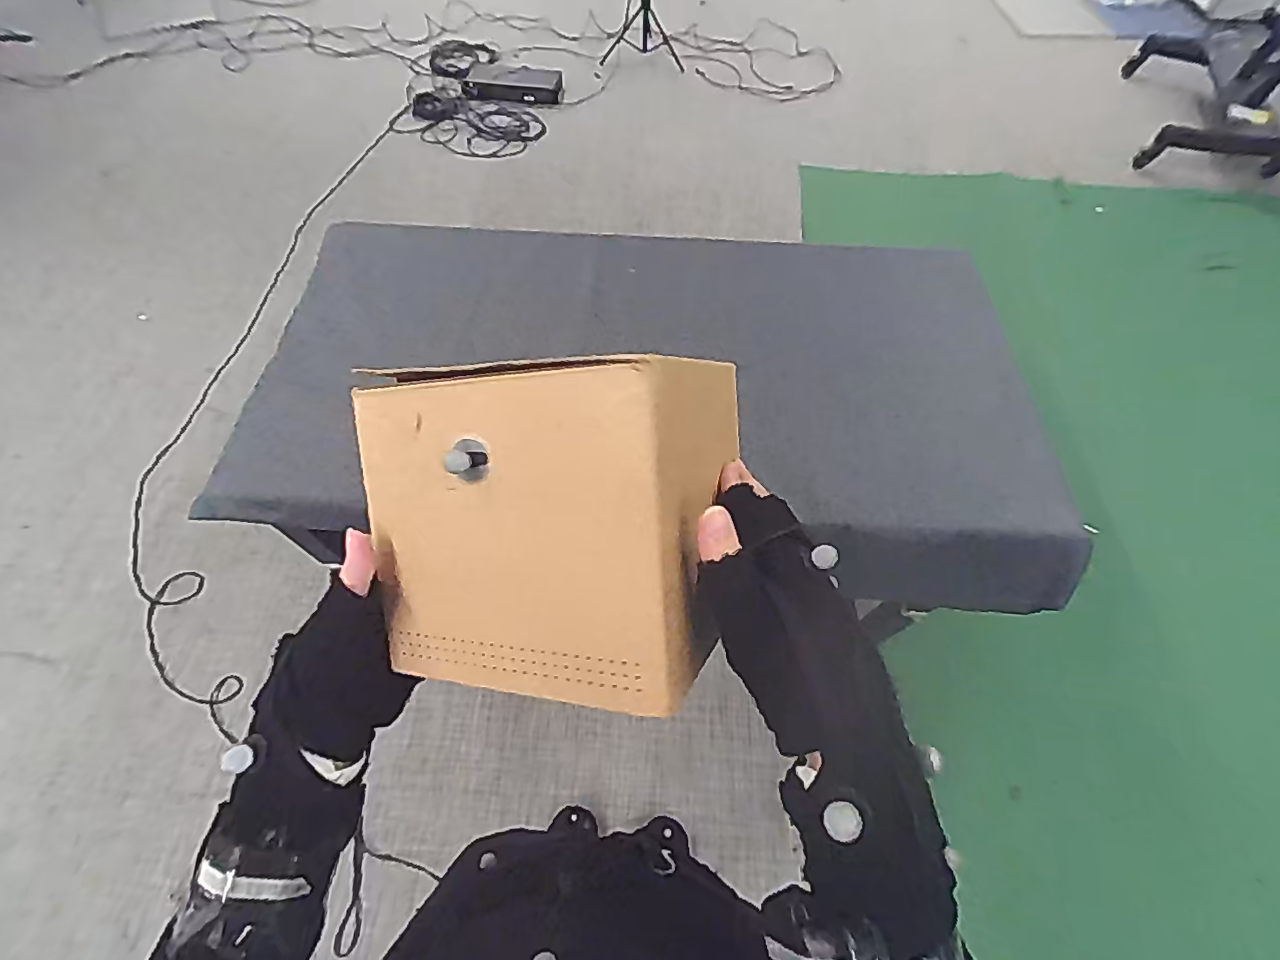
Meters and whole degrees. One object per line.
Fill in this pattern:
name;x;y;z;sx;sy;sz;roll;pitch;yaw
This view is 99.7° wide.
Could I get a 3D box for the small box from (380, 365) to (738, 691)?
small box;-0.038;0.020;0.363;0.179;0.168;0.176;0;99;22
